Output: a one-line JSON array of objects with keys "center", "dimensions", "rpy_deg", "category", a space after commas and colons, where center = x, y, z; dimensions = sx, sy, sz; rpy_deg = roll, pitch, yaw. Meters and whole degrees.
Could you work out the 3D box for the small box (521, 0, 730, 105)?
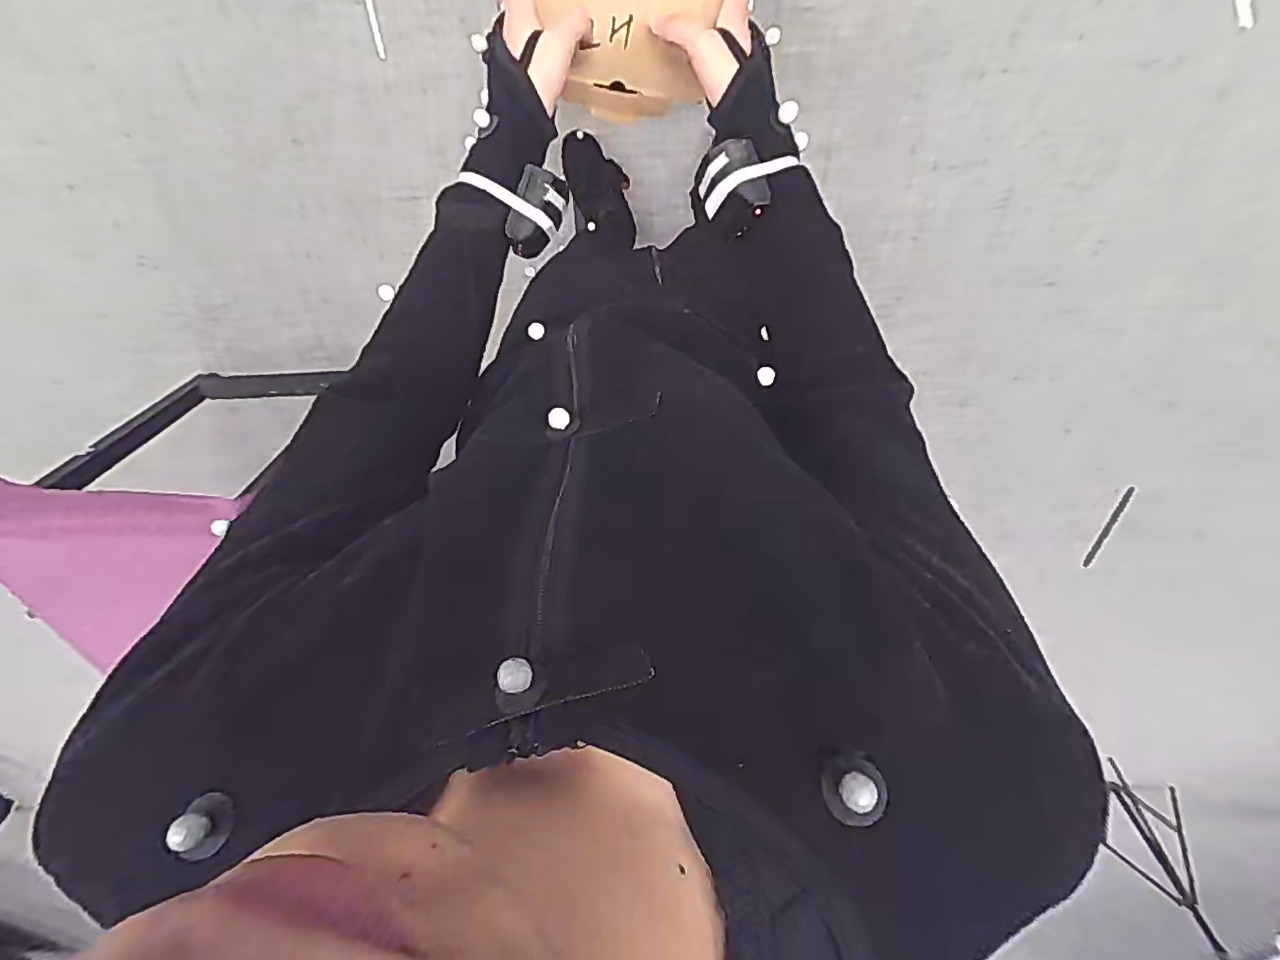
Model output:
[{"center": [-0.015, -0.468, 0.466], "dimensions": [0.168, 0.176, 0.179], "rpy_deg": [1, 144, -15], "category": "small box"}]
